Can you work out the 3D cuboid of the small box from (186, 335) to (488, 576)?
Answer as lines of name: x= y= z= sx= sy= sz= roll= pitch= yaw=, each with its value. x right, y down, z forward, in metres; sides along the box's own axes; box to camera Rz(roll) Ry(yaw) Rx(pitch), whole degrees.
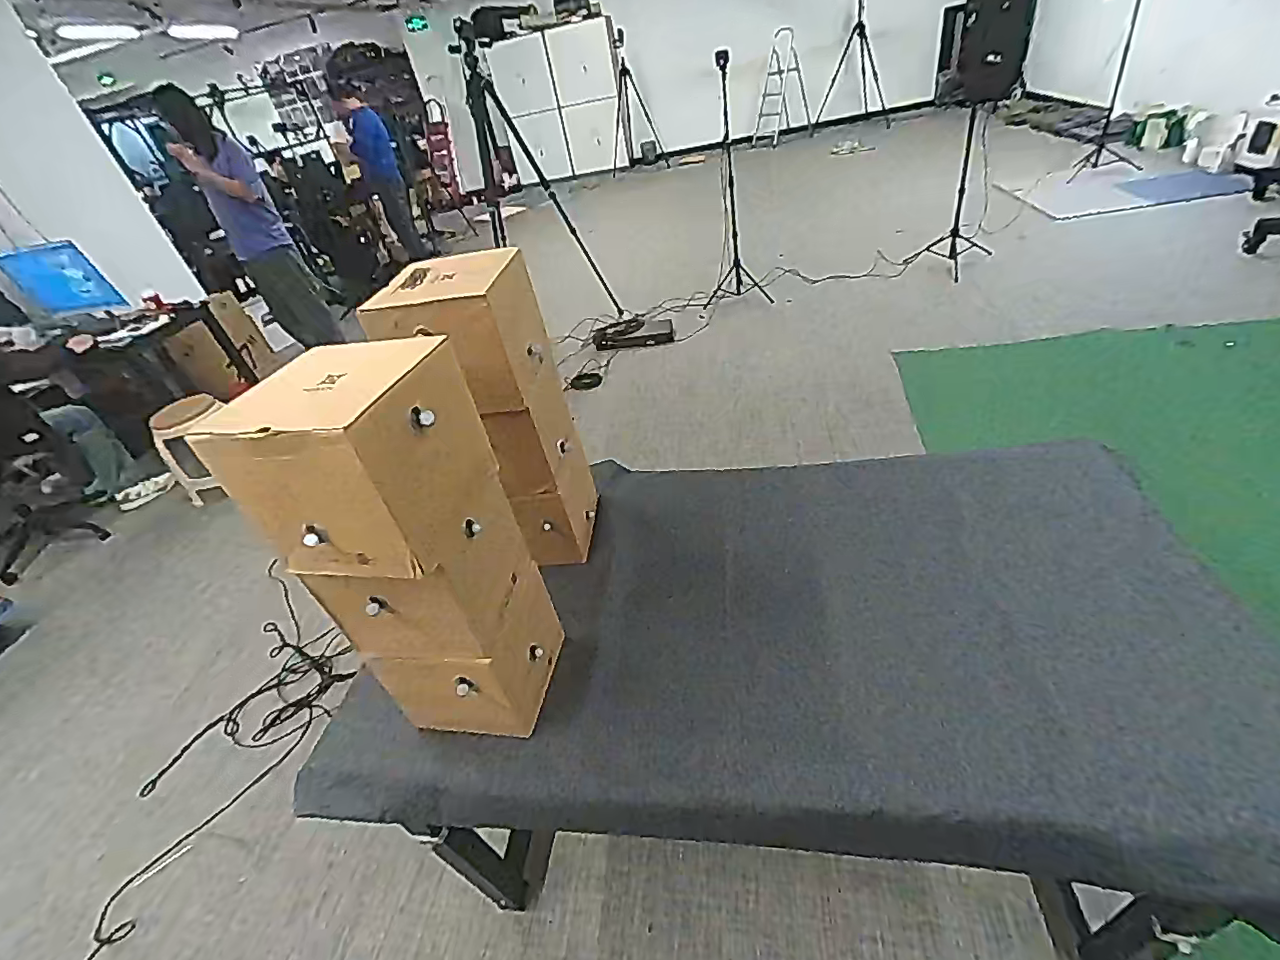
small box: x=-0.273 y=-0.028 z=0.541 sx=0.168 sy=0.176 sz=0.179 roll=-1 pitch=39 yaw=14

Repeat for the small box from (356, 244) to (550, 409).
small box: x=-0.246 y=-0.209 z=0.760 sx=0.179 sy=0.176 sz=0.168 roll=-3 pitch=41 yaw=11

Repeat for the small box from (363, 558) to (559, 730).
small box: x=-0.228 y=0.223 z=0.746 sx=0.179 sy=0.176 sz=0.168 roll=-2 pitch=37 yaw=14

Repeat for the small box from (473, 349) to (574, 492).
small box: x=-0.220 y=-0.091 z=0.872 sx=0.179 sy=0.176 sz=0.168 roll=-5 pitch=42 yaw=9

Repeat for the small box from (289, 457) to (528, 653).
small box: x=-0.258 y=0.092 z=0.652 sx=0.179 sy=0.176 sz=0.168 roll=-4 pitch=37 yaw=11
